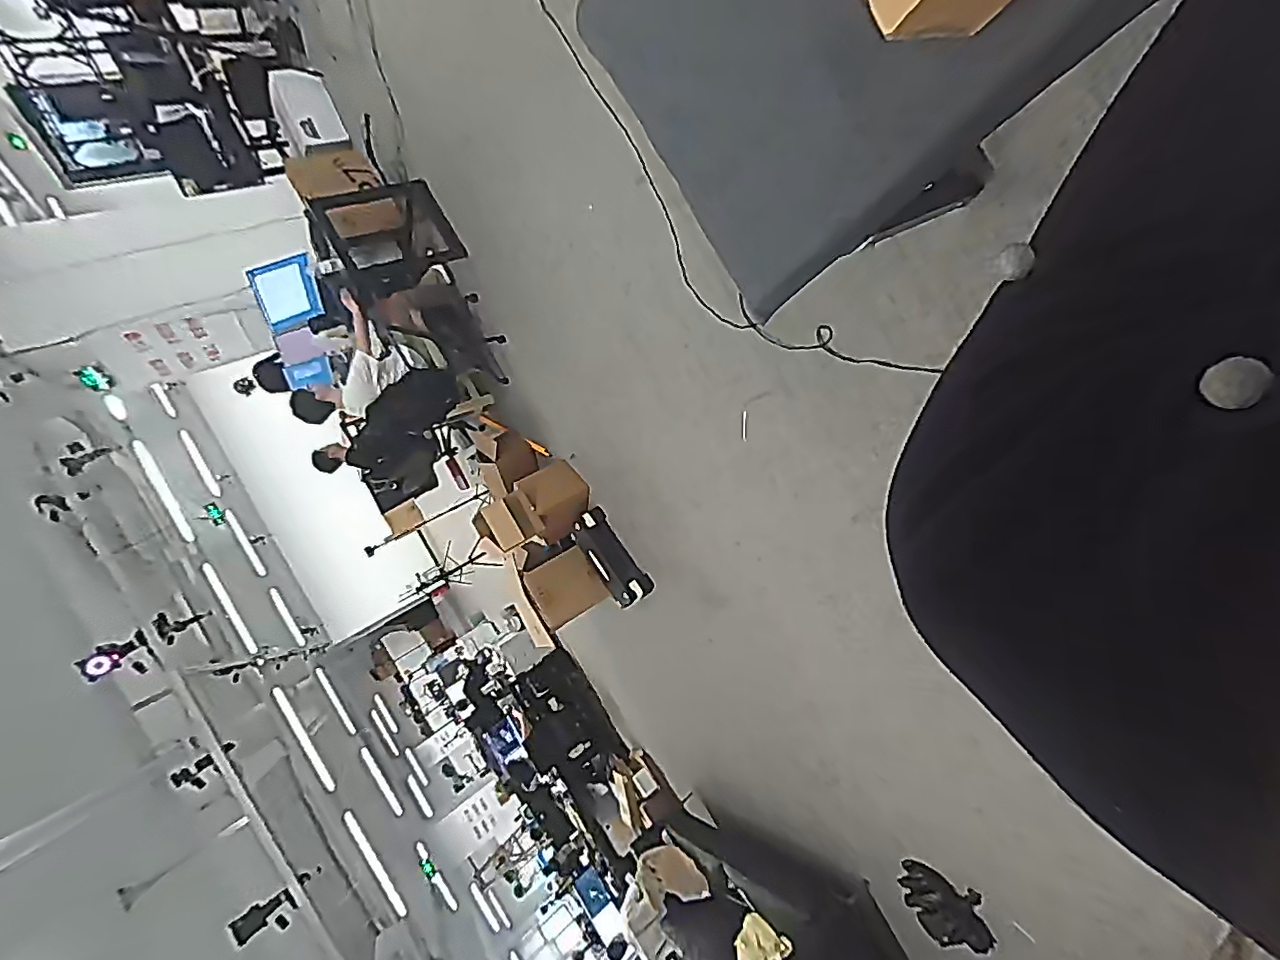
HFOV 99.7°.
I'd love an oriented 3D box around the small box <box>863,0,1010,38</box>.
[{"bbox_3d":[0.281,-0.512,0.442,0.168,0.176,0.179,63,151,-2],"label":"small box"}]
